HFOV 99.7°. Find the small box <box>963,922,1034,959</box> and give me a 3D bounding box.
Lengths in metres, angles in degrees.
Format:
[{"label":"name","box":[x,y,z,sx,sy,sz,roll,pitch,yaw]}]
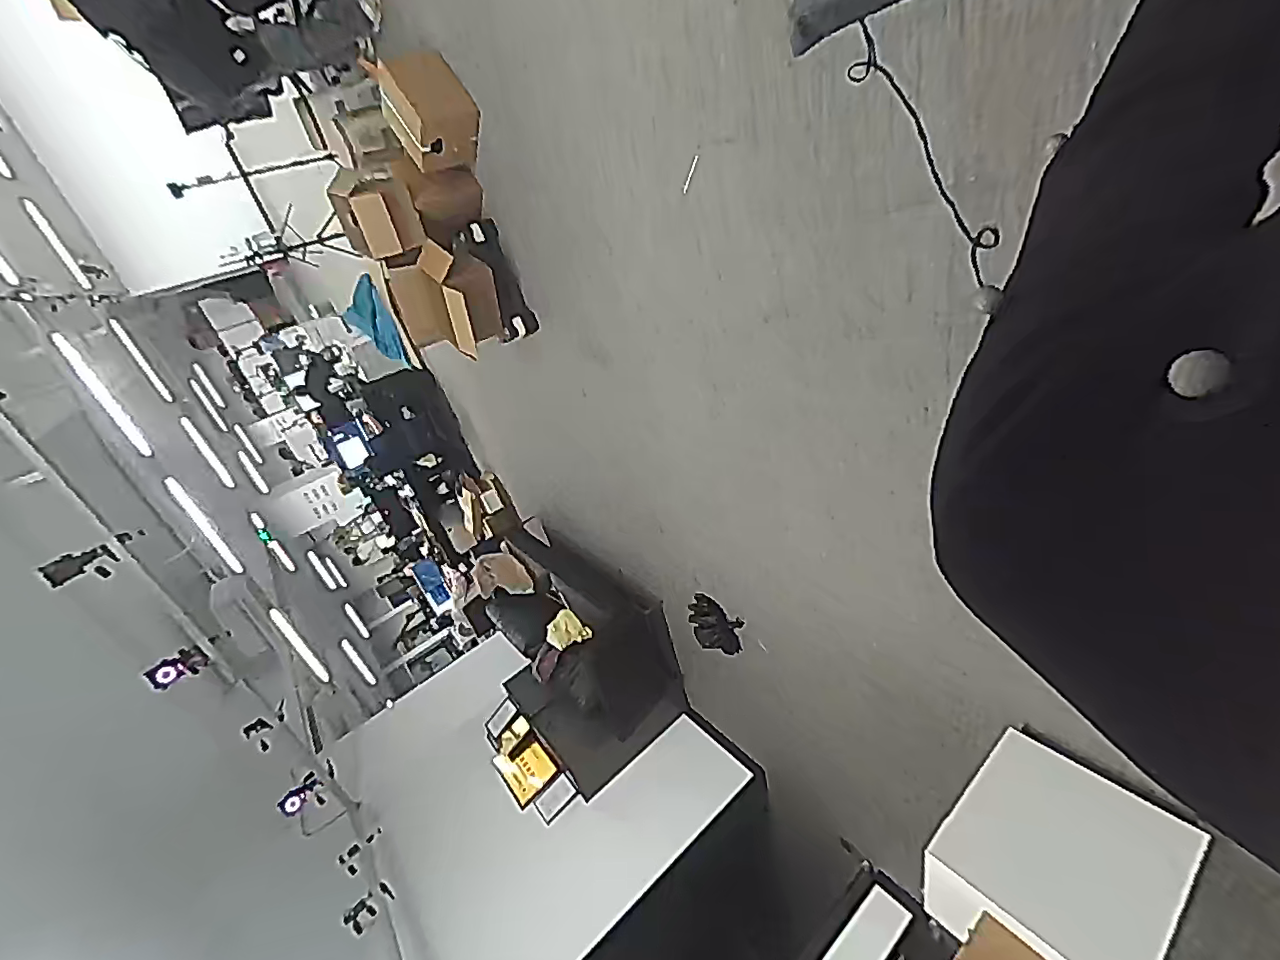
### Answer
[{"label":"small box","box":[0.986,1.368,1.466,0.179,0.176,0.168,26,139,49]}]
